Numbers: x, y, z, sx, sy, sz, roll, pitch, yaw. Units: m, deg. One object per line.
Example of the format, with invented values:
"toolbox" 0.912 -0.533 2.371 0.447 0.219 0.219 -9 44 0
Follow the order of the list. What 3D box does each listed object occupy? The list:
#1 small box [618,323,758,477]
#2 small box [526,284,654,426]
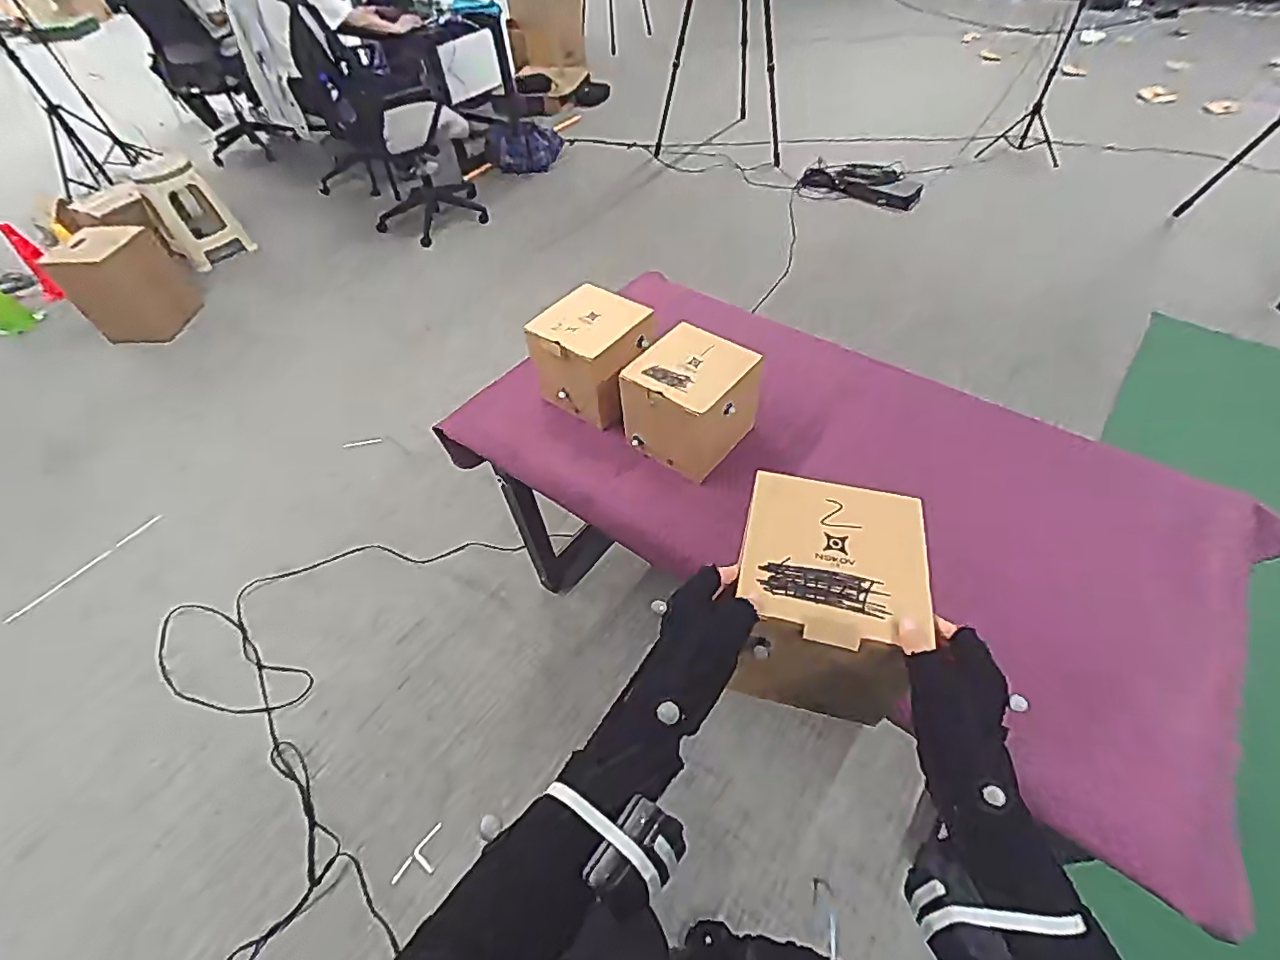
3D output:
"small box" 0.085 -0.136 0.939 0.168 0.176 0.179 31 59 26
"small box" -0.088 -0.237 1.032 0.168 0.176 0.179 30 59 25
